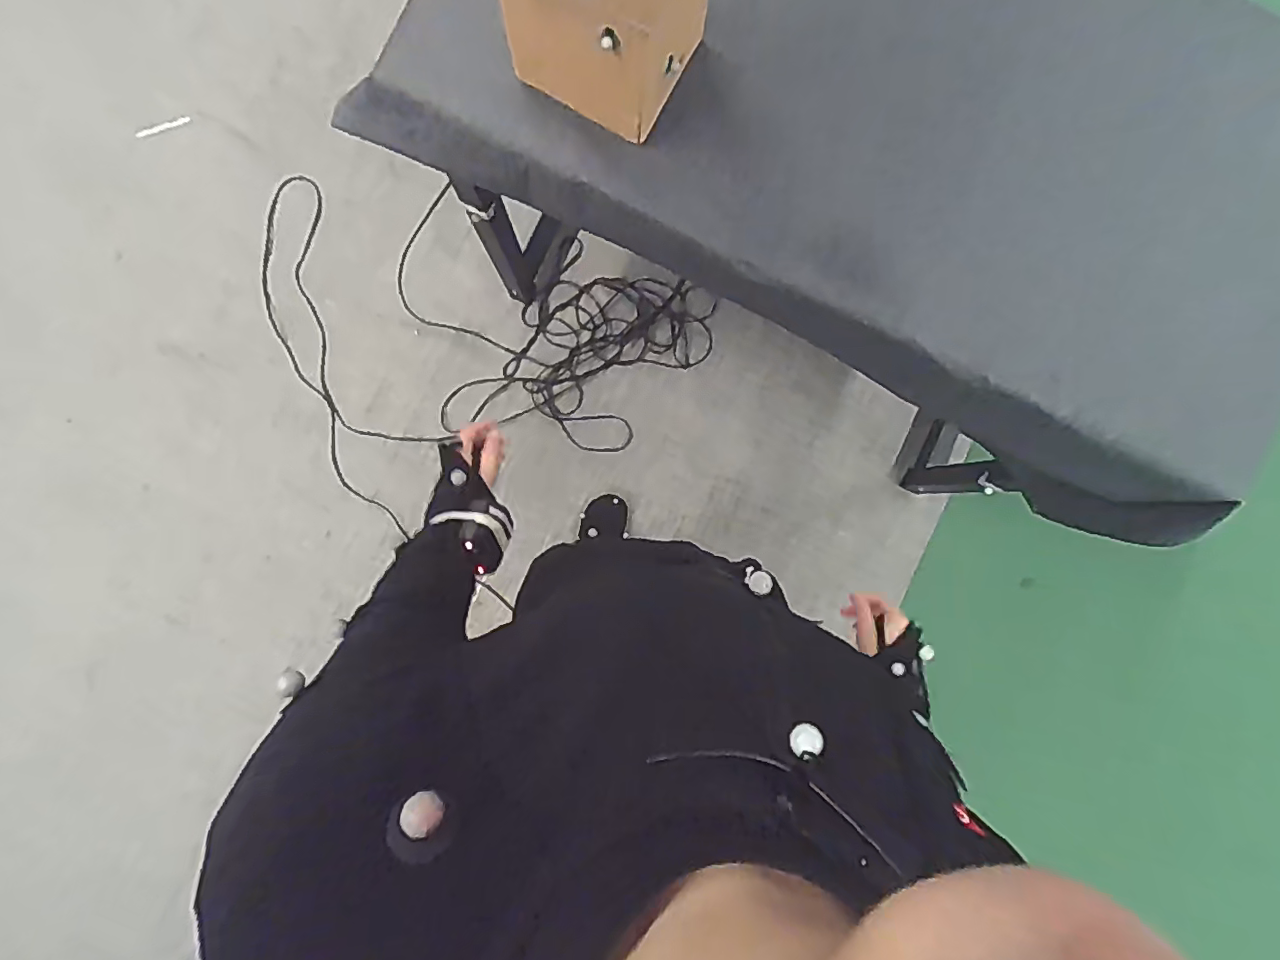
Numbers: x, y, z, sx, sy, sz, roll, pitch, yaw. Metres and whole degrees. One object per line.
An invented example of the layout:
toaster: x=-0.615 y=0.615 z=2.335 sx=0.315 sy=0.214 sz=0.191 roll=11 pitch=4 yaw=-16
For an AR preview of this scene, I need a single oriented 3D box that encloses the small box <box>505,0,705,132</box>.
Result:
small box: x=-0.035 y=-0.527 z=0.581 sx=0.179 sy=0.176 sz=0.168 roll=29 pitch=86 yaw=-3
